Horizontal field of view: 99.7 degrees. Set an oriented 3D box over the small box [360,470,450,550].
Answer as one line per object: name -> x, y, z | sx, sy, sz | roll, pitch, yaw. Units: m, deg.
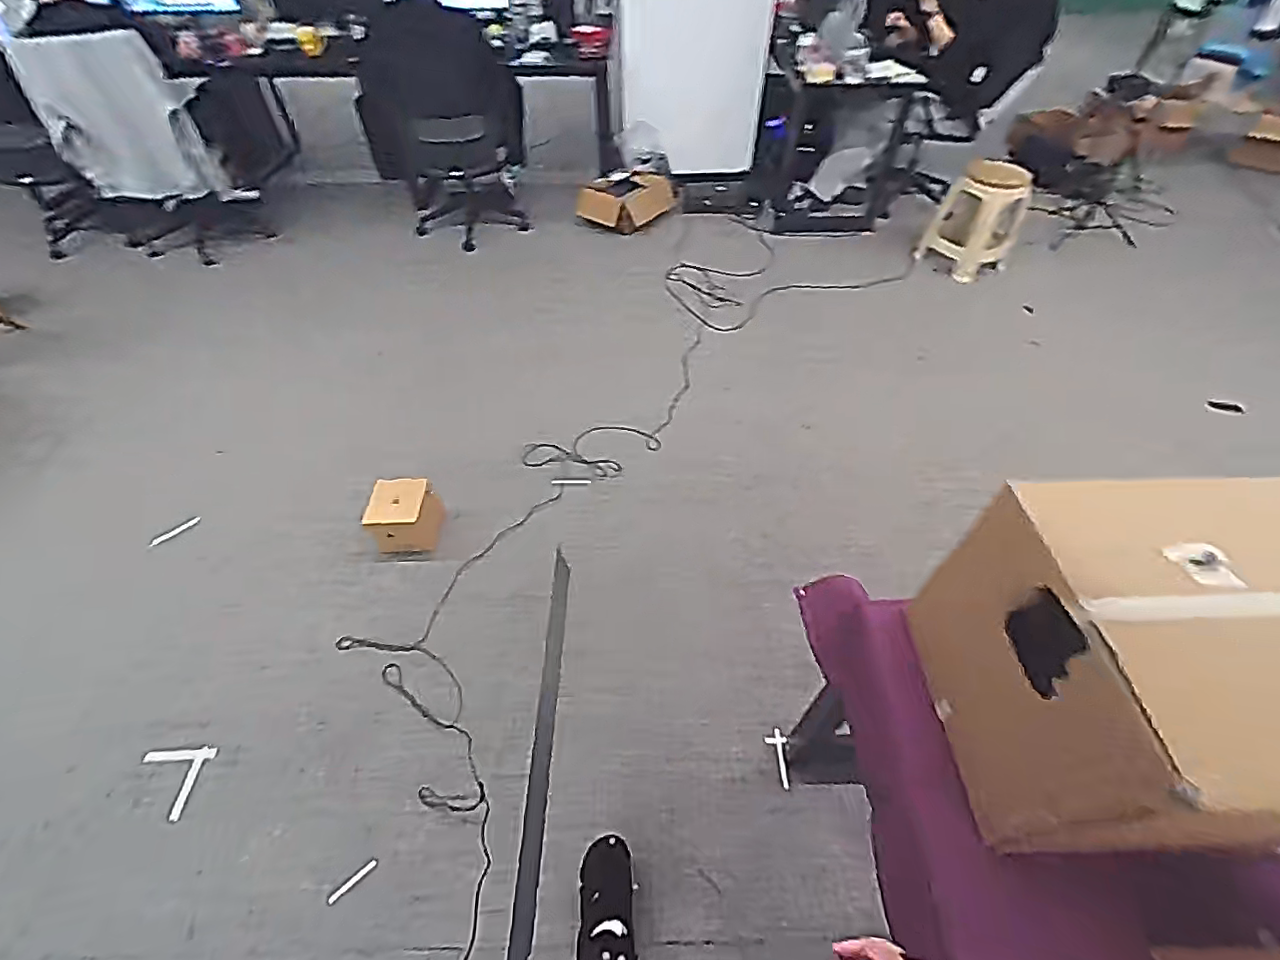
small box -> -0.745, 0.091, 1.726 | 0.179, 0.176, 0.168 | -18, 30, 9
